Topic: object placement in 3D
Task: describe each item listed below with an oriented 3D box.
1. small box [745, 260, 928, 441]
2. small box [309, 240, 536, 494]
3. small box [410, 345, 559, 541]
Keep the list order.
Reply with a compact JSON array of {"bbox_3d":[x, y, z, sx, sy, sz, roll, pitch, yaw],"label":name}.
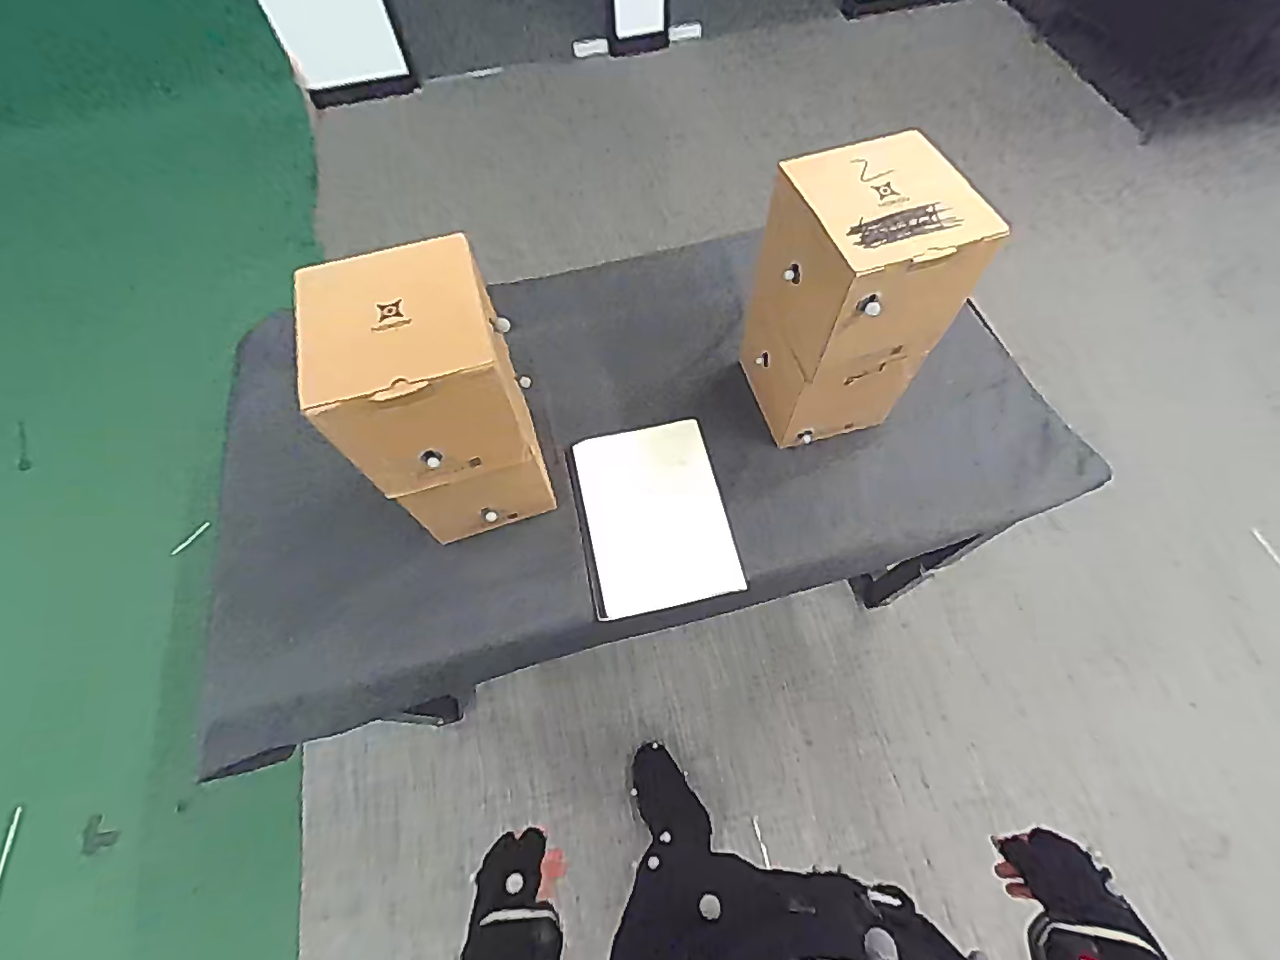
[{"bbox_3d":[0.261,-0.172,0.766,0.168,0.176,0.179,-14,62,-5],"label":"small box"},{"bbox_3d":[-0.218,-0.112,0.568,0.168,0.176,0.179,-16,63,-7],"label":"small box"},{"bbox_3d":[-0.216,-0.045,0.715,0.168,0.176,0.179,-18,63,-7],"label":"small box"}]
